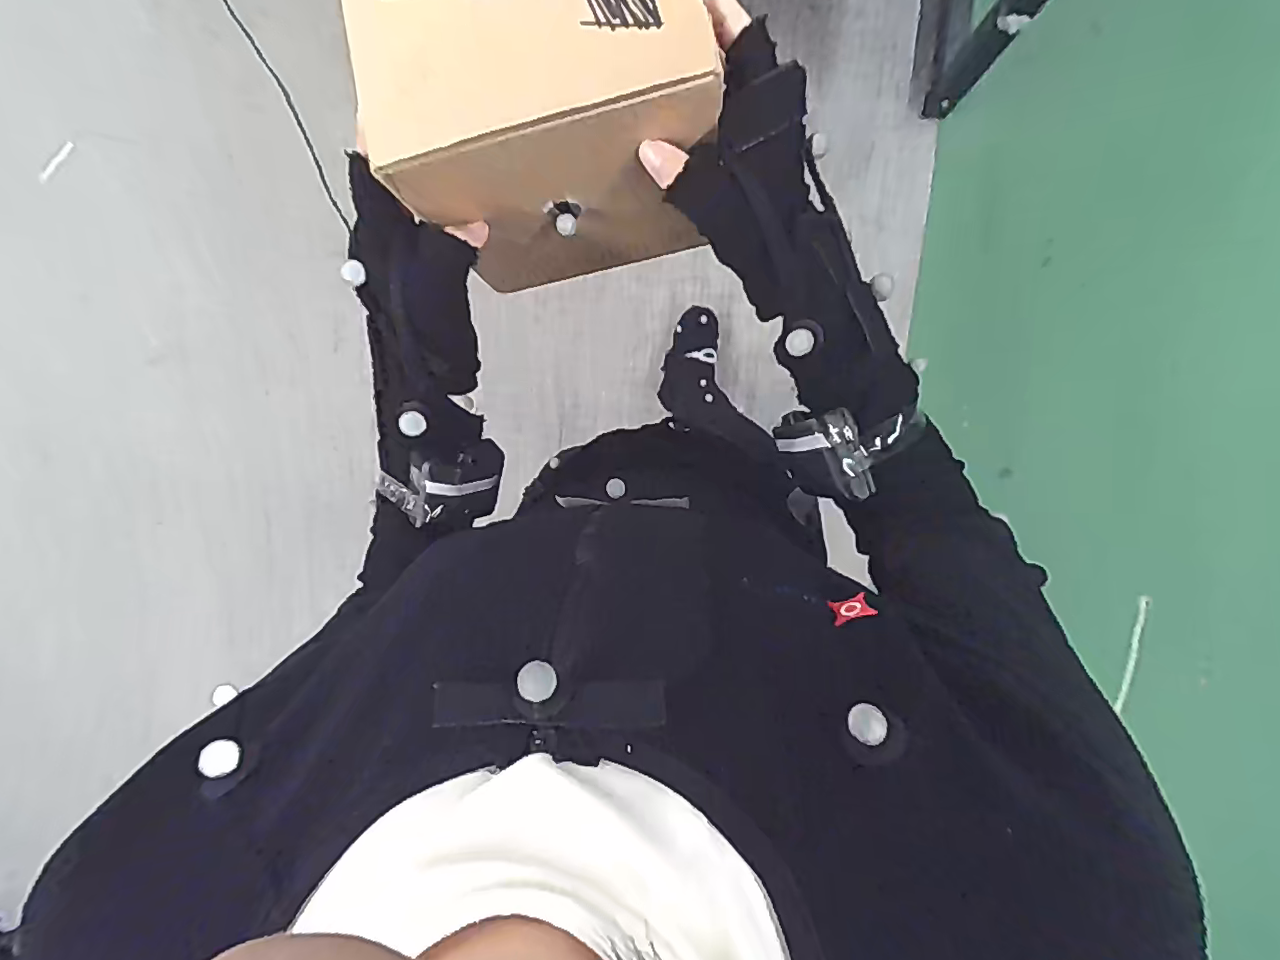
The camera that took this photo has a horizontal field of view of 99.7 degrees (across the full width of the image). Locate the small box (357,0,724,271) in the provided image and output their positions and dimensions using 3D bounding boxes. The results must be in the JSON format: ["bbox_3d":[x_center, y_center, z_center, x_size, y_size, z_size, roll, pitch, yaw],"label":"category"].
[{"bbox_3d":[-0.049,-0.259,0.343,0.179,0.176,0.168,-12,87,8],"label":"small box"}]
